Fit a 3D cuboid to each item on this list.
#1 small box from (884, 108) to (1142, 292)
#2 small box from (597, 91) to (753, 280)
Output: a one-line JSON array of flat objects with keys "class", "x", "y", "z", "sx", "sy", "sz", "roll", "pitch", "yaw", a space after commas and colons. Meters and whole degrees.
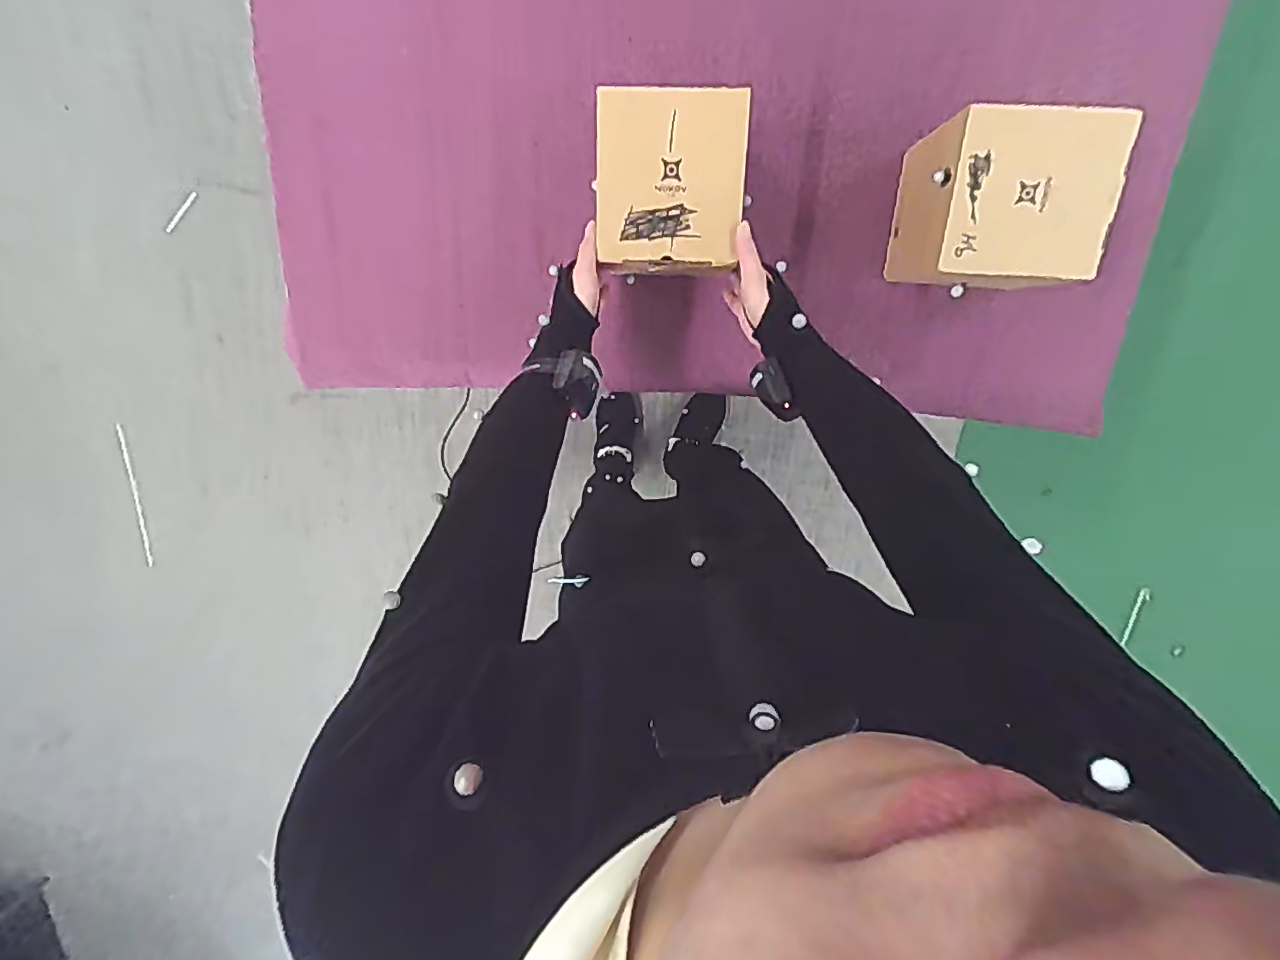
[{"class": "small box", "x": 0.428, "y": -0.322, "z": 0.656, "sx": 0.179, "sy": 0.176, "sz": 0.168, "roll": 4, "pitch": 106, "yaw": 2}, {"class": "small box", "x": 0.039, "y": -0.346, "z": 0.668, "sx": 0.168, "sy": 0.176, "sz": 0.179, "roll": 2, "pitch": 105, "yaw": 2}]
